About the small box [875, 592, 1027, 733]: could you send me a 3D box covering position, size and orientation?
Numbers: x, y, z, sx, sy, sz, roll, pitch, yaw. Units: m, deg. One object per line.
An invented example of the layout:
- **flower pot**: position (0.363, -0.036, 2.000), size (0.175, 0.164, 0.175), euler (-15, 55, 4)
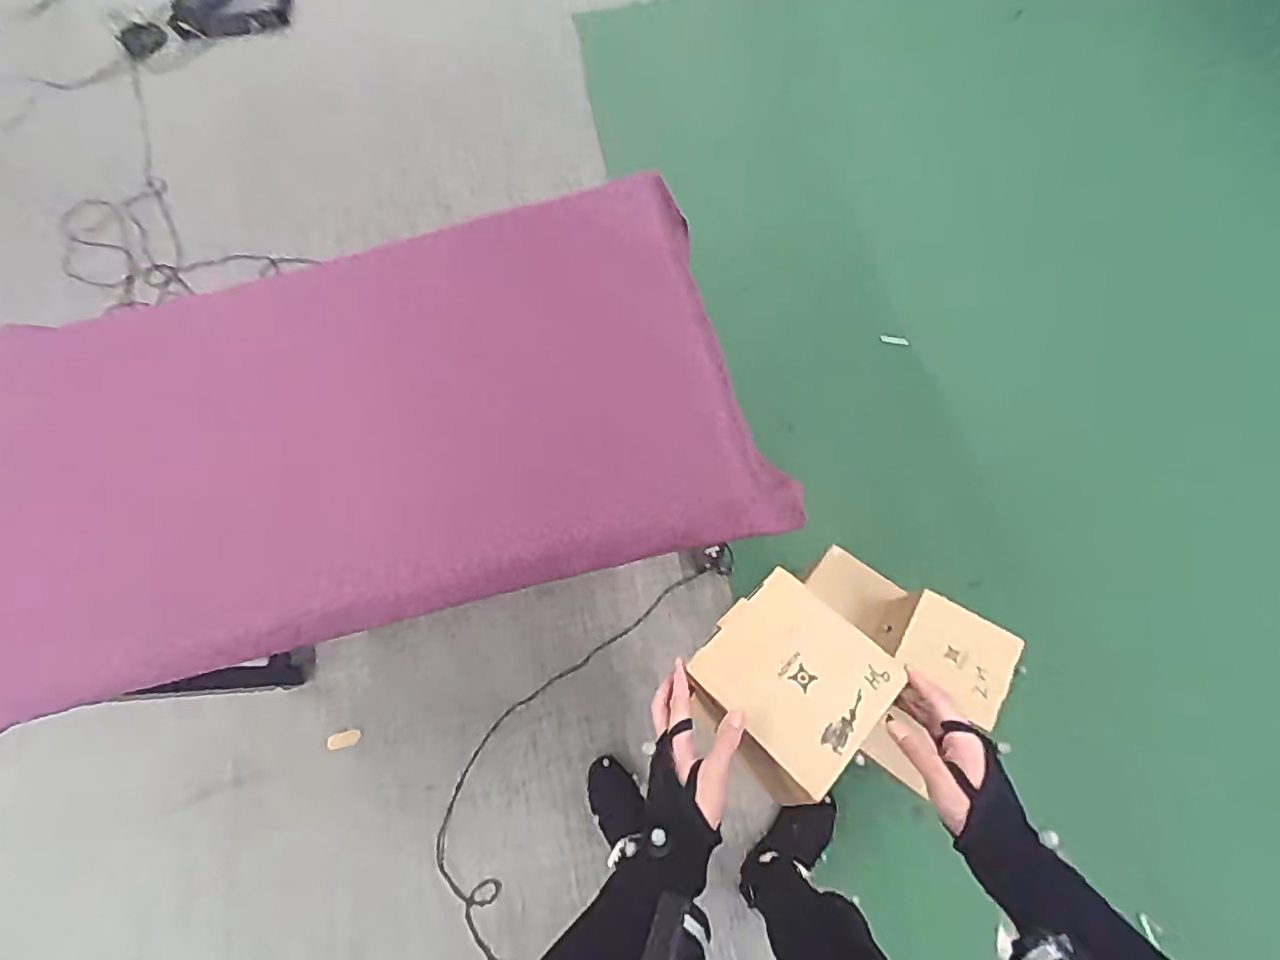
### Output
- **small box**: position (0.533, 0.327, 0.971), size (0.179, 0.176, 0.168), euler (30, 75, 13)

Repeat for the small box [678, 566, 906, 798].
- **small box**: position (0.158, 0.239, 0.627), size (0.168, 0.176, 0.179), euler (-39, 65, -21)
